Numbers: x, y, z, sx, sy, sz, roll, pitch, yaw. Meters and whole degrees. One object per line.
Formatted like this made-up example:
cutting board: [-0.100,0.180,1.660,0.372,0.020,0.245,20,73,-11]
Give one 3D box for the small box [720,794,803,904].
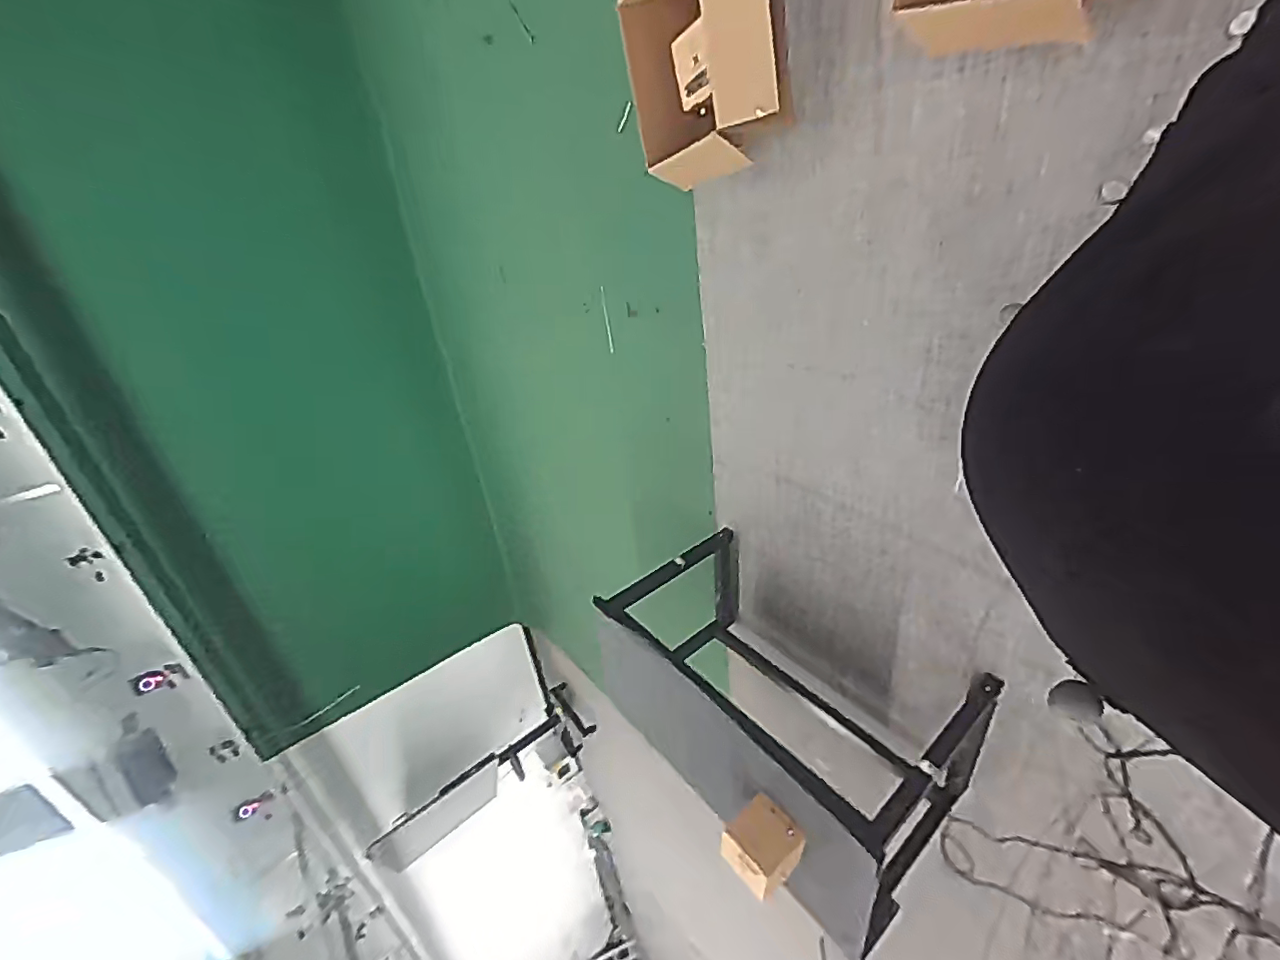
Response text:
small box: [0.351,1.059,1.565,0.168,0.176,0.179,33,138,42]
